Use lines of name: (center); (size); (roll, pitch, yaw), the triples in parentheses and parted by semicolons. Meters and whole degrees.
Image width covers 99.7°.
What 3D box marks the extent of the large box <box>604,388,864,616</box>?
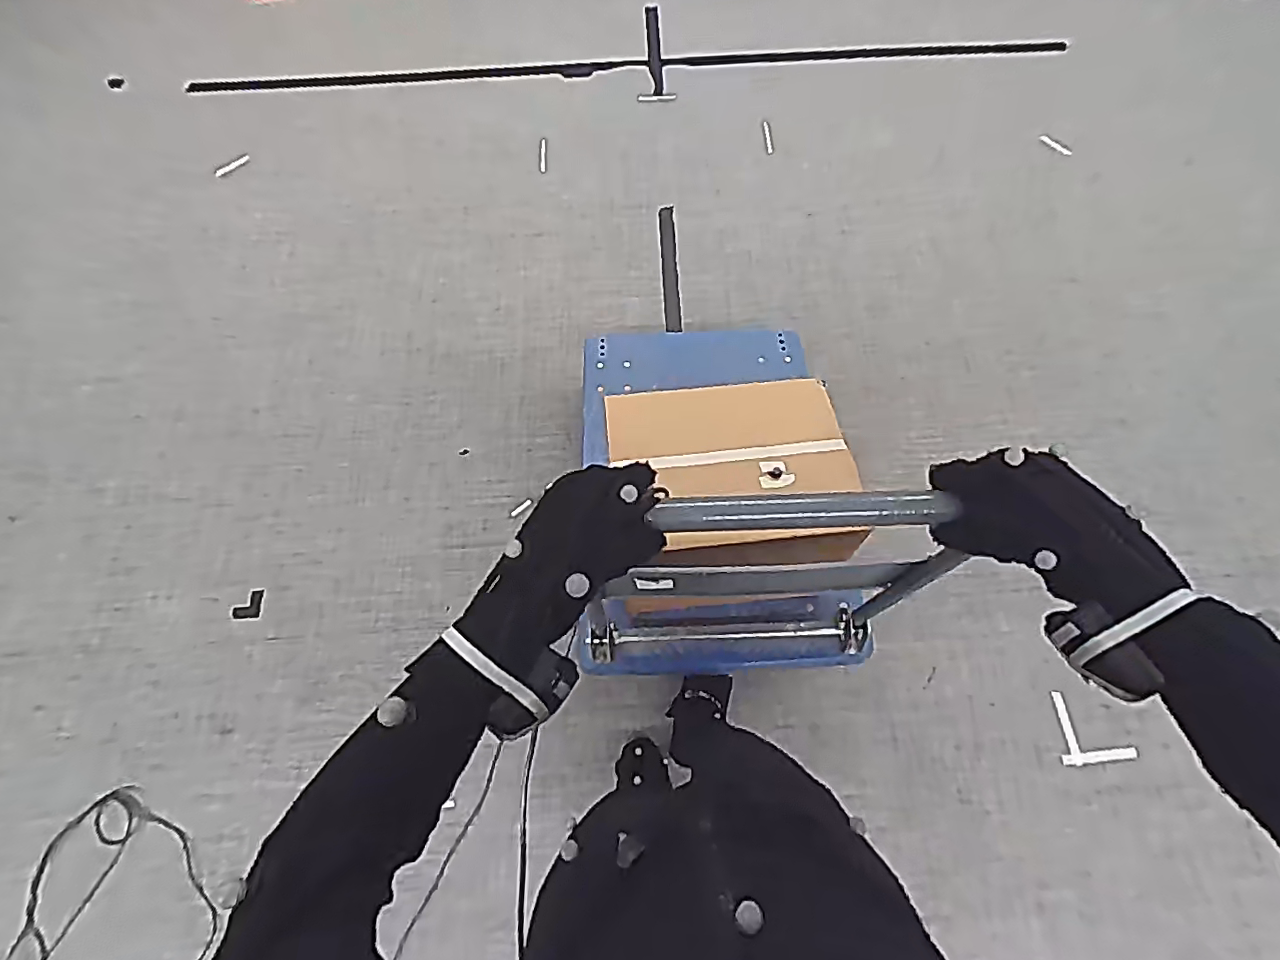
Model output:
large box: (0.147, 0.053, 1.058); (0.408, 0.320, 0.320); (-5, 60, -4)
